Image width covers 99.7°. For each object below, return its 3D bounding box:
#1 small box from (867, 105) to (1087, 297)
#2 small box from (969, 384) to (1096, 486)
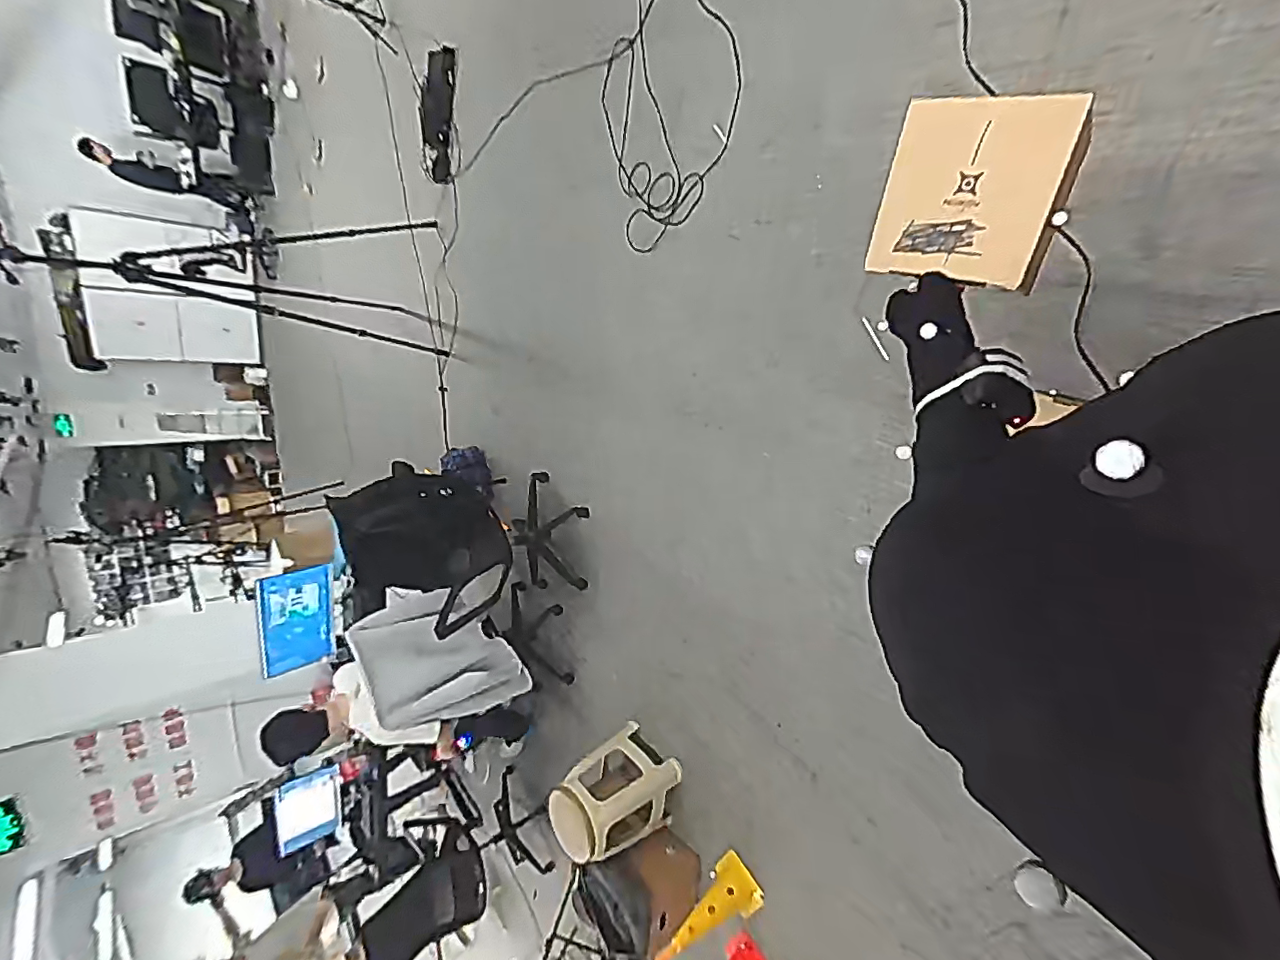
[{"bbox_3d":[0.401,-0.322,0.648,0.168,0.176,0.179,23,116,31],"label":"small box"},{"bbox_3d":[0.866,-0.105,1.190,0.168,0.176,0.179,30,118,40],"label":"small box"}]
